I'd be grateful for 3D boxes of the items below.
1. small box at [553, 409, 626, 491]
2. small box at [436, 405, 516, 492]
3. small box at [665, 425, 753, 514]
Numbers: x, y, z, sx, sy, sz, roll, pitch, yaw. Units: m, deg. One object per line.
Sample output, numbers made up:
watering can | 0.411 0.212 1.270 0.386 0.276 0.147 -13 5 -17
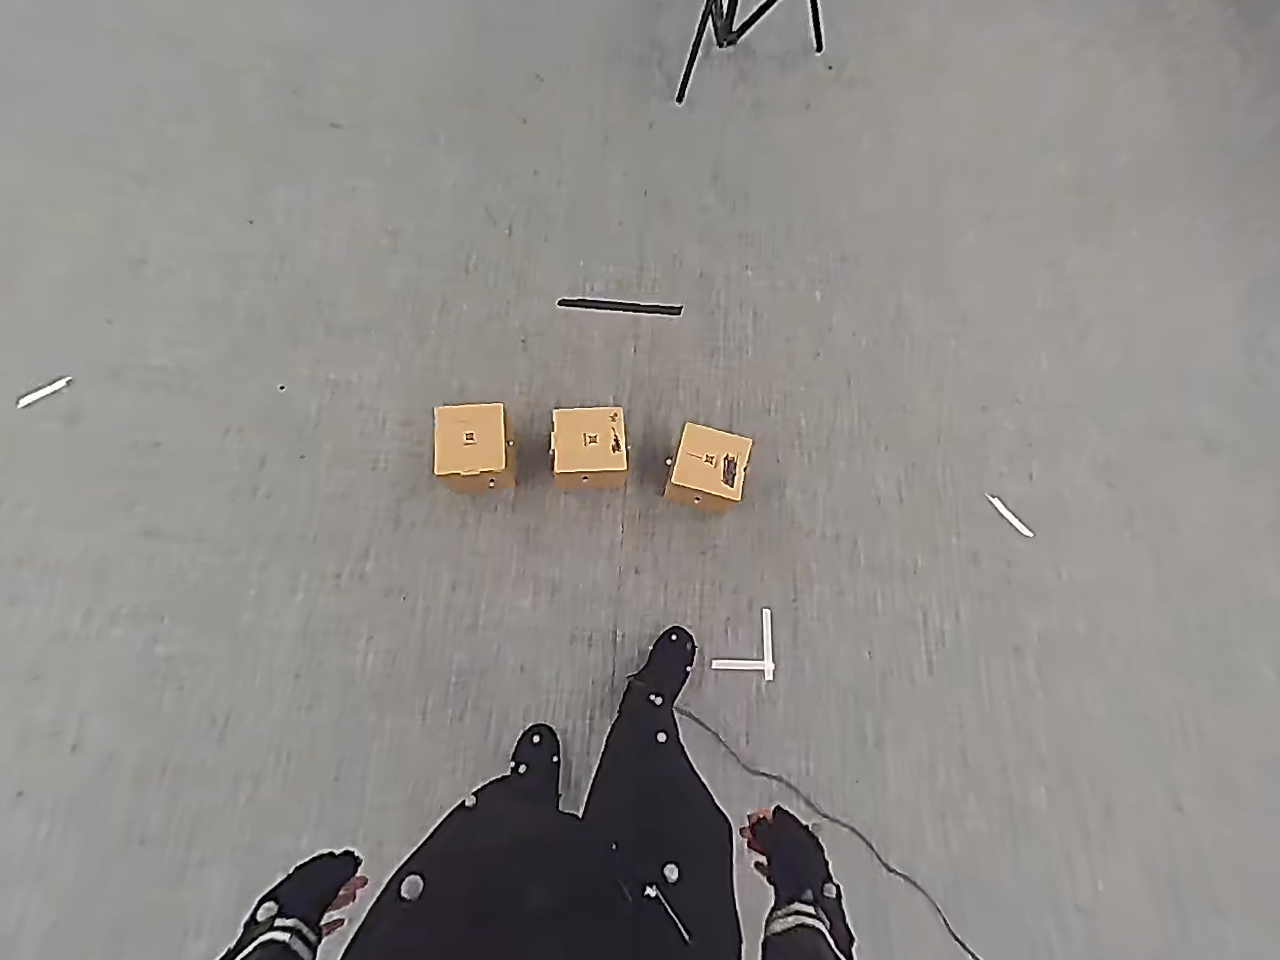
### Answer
small box | -0.126 -0.072 1.386 0.179 0.176 0.168 -3 75 -4
small box | -0.410 -0.072 1.366 0.168 0.176 0.179 -4 74 -6
small box | 0.172 -0.018 1.394 0.179 0.176 0.168 15 74 1
